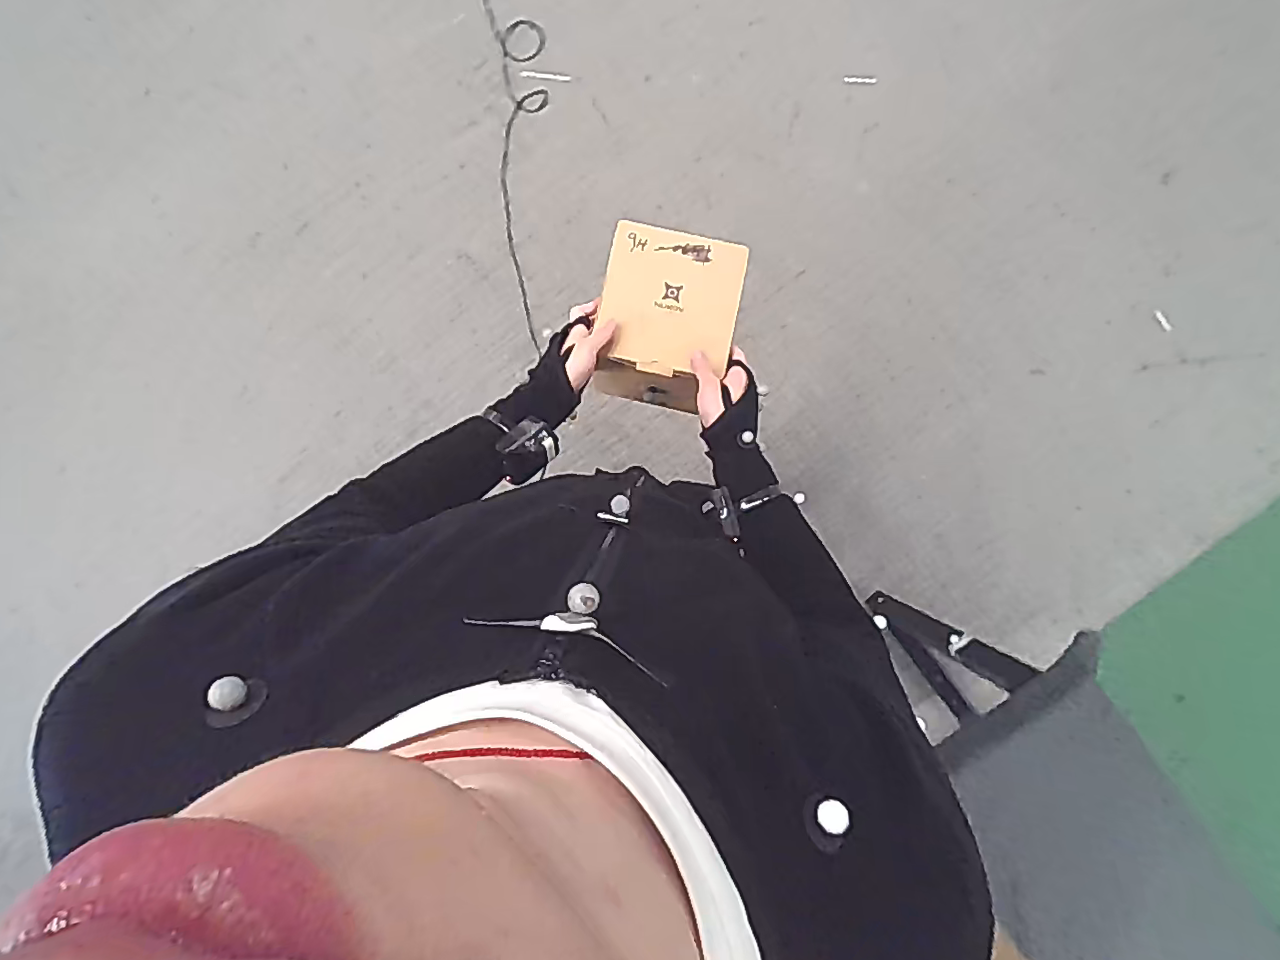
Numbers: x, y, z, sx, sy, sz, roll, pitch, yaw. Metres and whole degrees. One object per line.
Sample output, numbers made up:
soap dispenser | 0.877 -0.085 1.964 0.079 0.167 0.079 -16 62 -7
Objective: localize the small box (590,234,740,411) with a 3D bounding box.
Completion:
small box | 0.031 -0.203 0.746 0.168 0.176 0.179 8 84 -1
